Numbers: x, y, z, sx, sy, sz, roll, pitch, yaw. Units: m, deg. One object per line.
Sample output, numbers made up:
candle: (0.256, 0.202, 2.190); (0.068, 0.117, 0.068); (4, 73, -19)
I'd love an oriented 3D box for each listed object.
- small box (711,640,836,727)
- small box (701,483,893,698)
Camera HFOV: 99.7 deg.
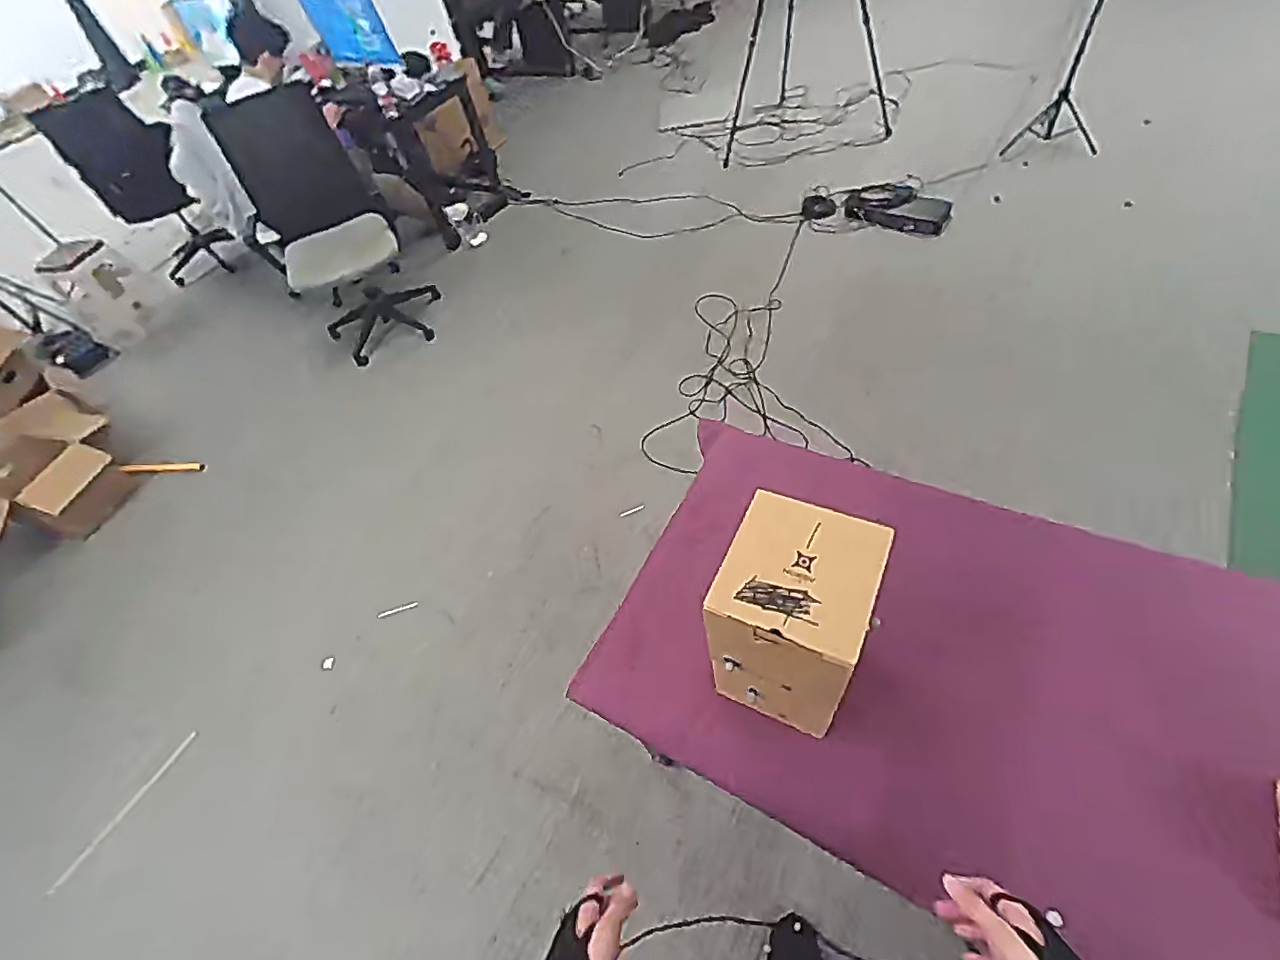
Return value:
small box: (0.218, 0.234, 0.794); (0.168, 0.176, 0.179); (17, 59, 23)
small box: (0.190, 0.138, 0.663); (0.168, 0.176, 0.179); (18, 58, 23)
